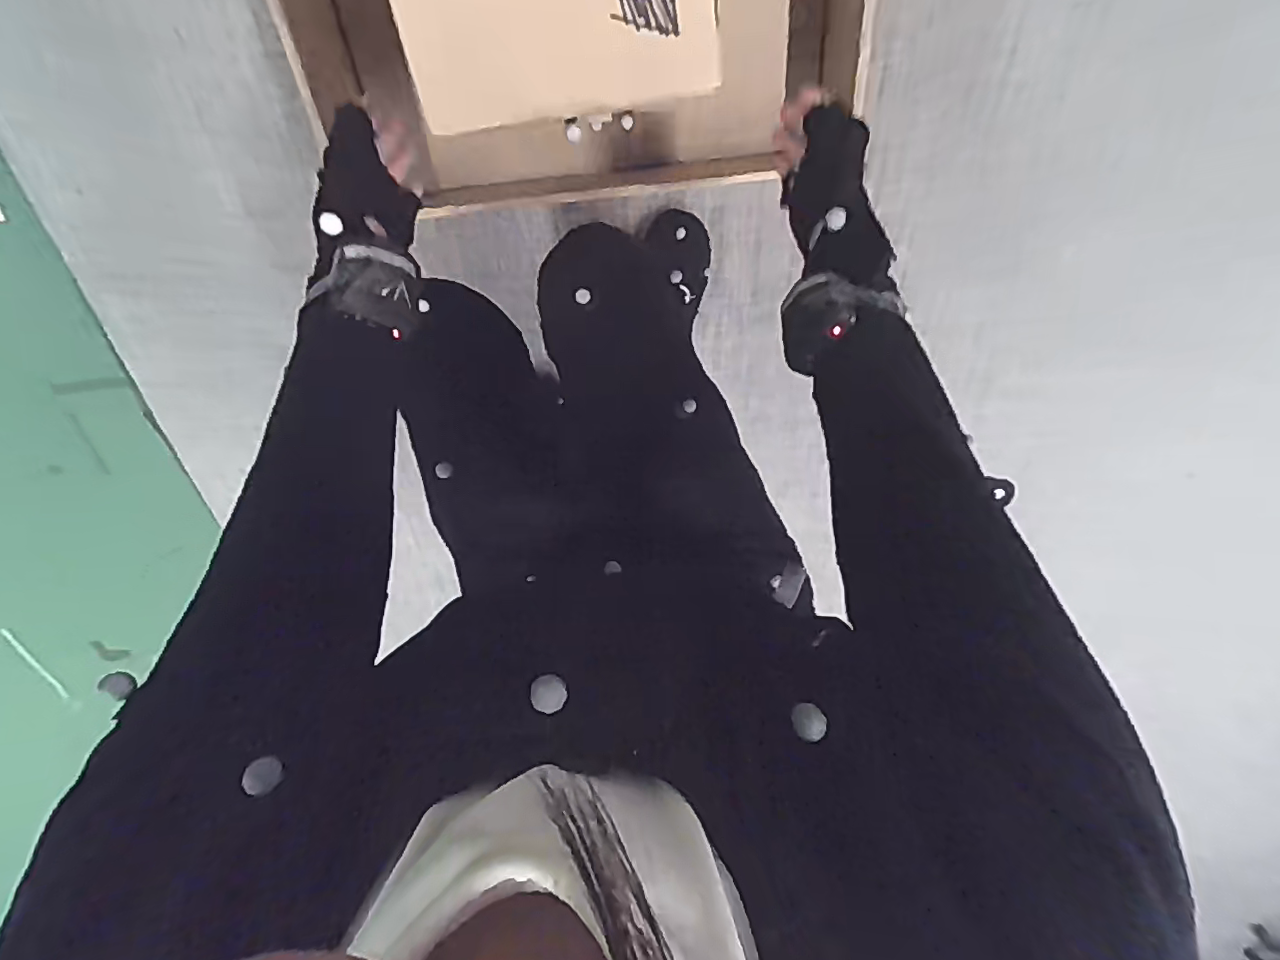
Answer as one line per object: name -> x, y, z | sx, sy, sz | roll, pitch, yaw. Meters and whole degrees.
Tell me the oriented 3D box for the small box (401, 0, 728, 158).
small box -> -0.050, -0.325, 0.350 | 0.179, 0.176, 0.168 | -10, 124, 5
